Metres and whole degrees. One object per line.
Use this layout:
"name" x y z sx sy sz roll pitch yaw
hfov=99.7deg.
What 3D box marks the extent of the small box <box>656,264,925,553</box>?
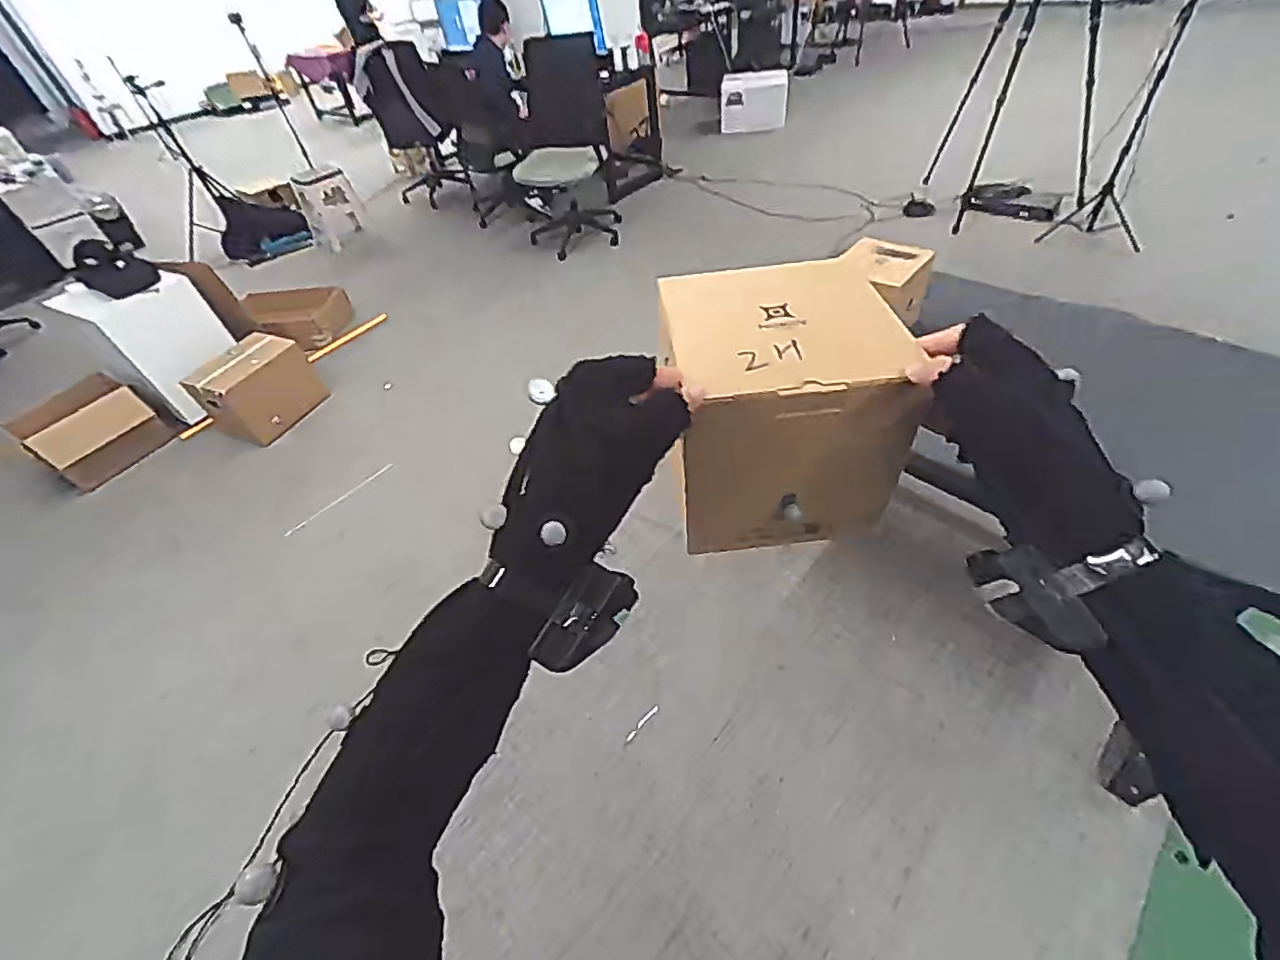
"small box" 0.104 -0.061 0.464 0.168 0.176 0.179 -7 46 0
